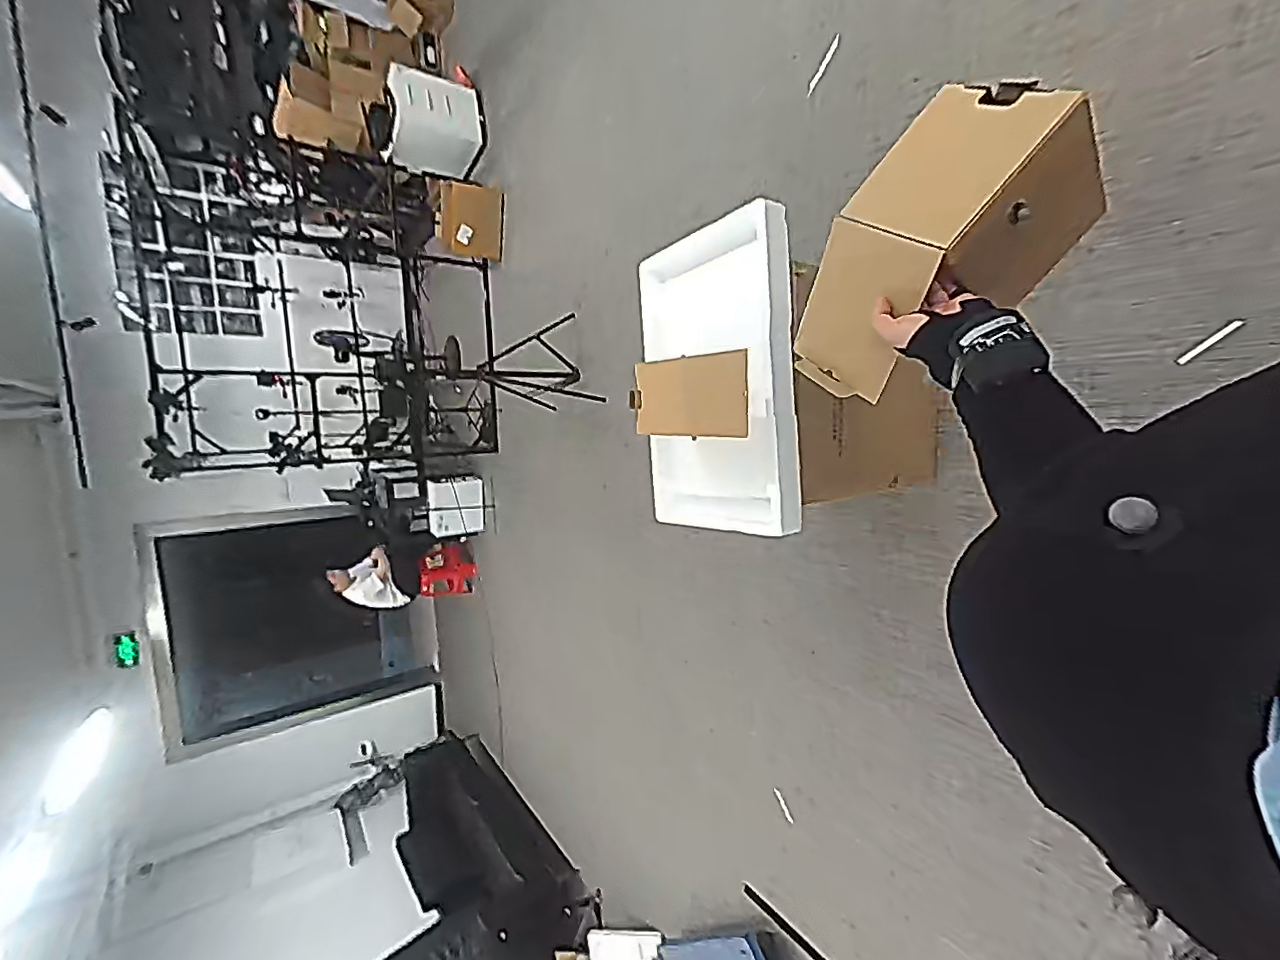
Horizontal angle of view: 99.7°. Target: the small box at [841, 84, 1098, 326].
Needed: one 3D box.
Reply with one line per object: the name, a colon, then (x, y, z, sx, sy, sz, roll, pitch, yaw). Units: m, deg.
small box: (0.380, -0.310, 0.625, 0.179, 0.176, 0.168, -51, 42, 15)
